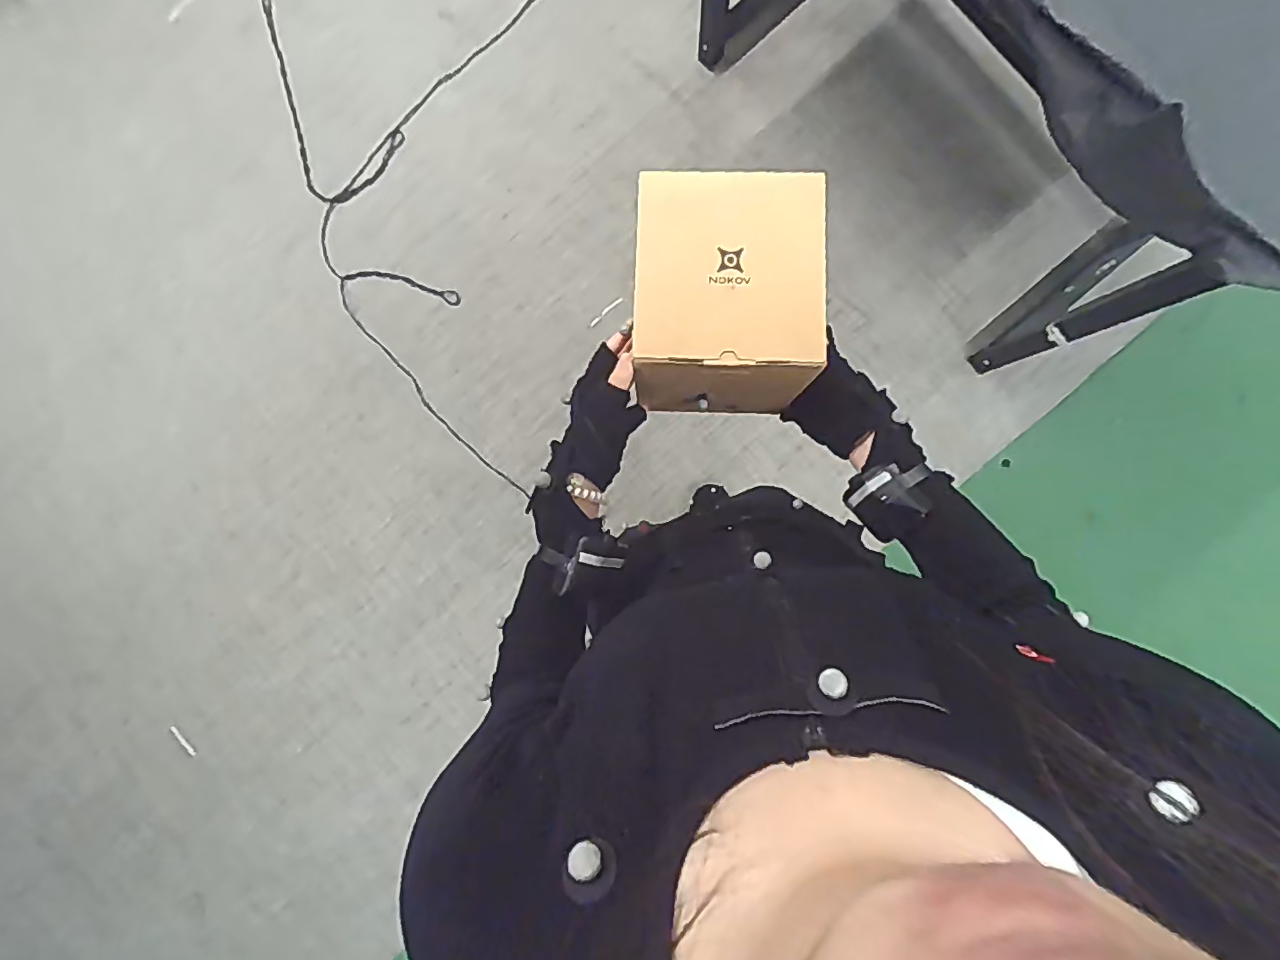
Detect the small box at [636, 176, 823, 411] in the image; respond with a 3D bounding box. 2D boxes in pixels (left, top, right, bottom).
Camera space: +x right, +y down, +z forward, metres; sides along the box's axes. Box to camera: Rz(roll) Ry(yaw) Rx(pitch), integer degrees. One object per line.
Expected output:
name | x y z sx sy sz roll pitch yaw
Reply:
small box | 0.081 -0.179 0.560 0.168 0.176 0.179 2 84 2
